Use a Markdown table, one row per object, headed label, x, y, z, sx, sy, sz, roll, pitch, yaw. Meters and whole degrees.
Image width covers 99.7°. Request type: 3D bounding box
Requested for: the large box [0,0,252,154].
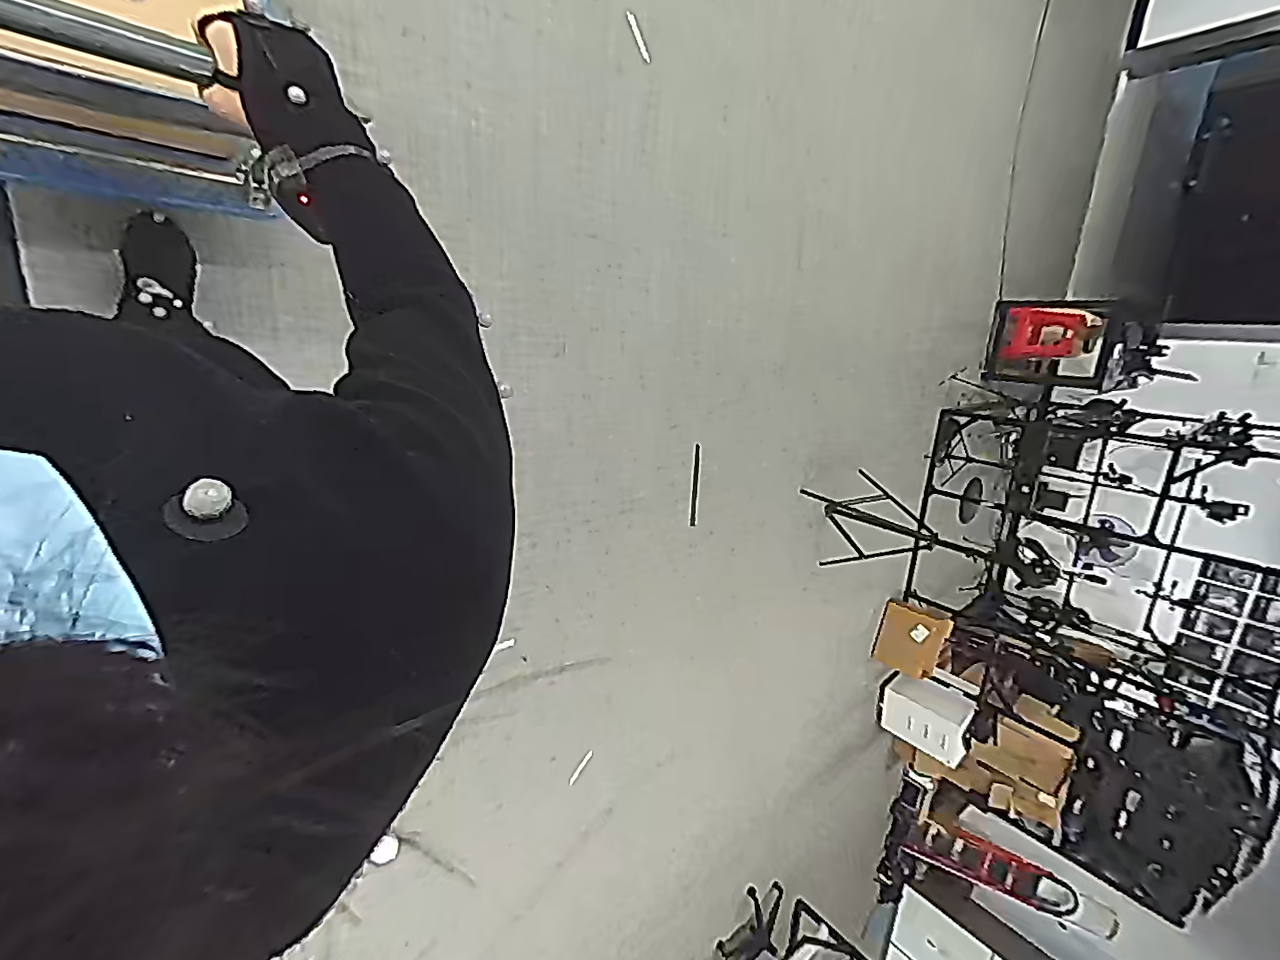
| label | x | y | z | sx | sy | sz | roll | pitch | yaw |
| --- | --- | --- | --- | --- | --- | --- | --- | --- | --- |
| large box | -0.782 | -0.667 | 0.692 | 0.408 | 0.320 | 0.320 | -9 | 110 | -42 |
